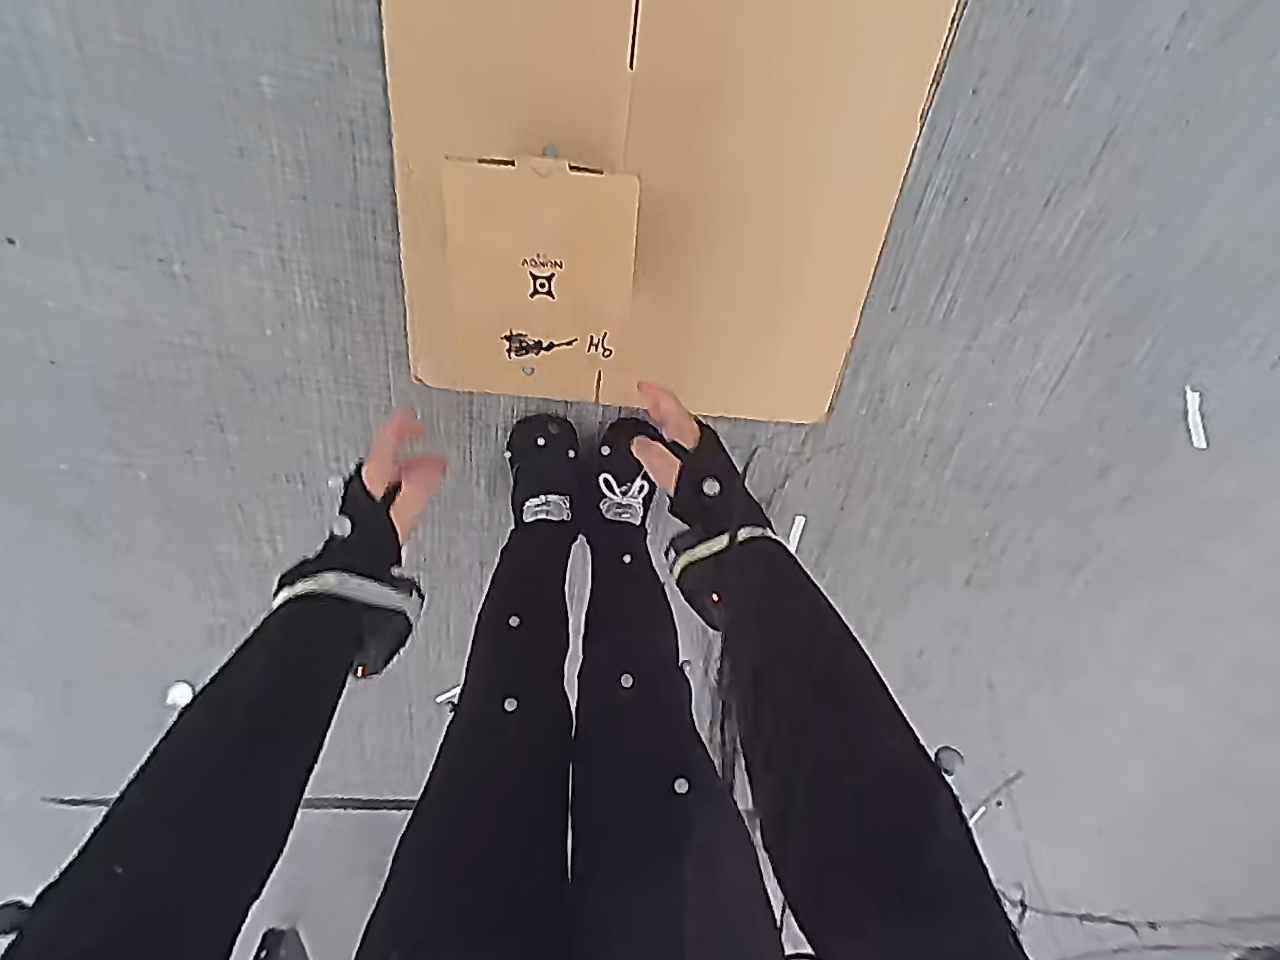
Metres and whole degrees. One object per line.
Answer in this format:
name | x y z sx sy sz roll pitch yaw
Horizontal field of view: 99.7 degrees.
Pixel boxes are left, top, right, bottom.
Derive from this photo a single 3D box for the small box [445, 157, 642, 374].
small box | -0.093 -0.221 0.557 0.168 0.176 0.179 2 119 -6
